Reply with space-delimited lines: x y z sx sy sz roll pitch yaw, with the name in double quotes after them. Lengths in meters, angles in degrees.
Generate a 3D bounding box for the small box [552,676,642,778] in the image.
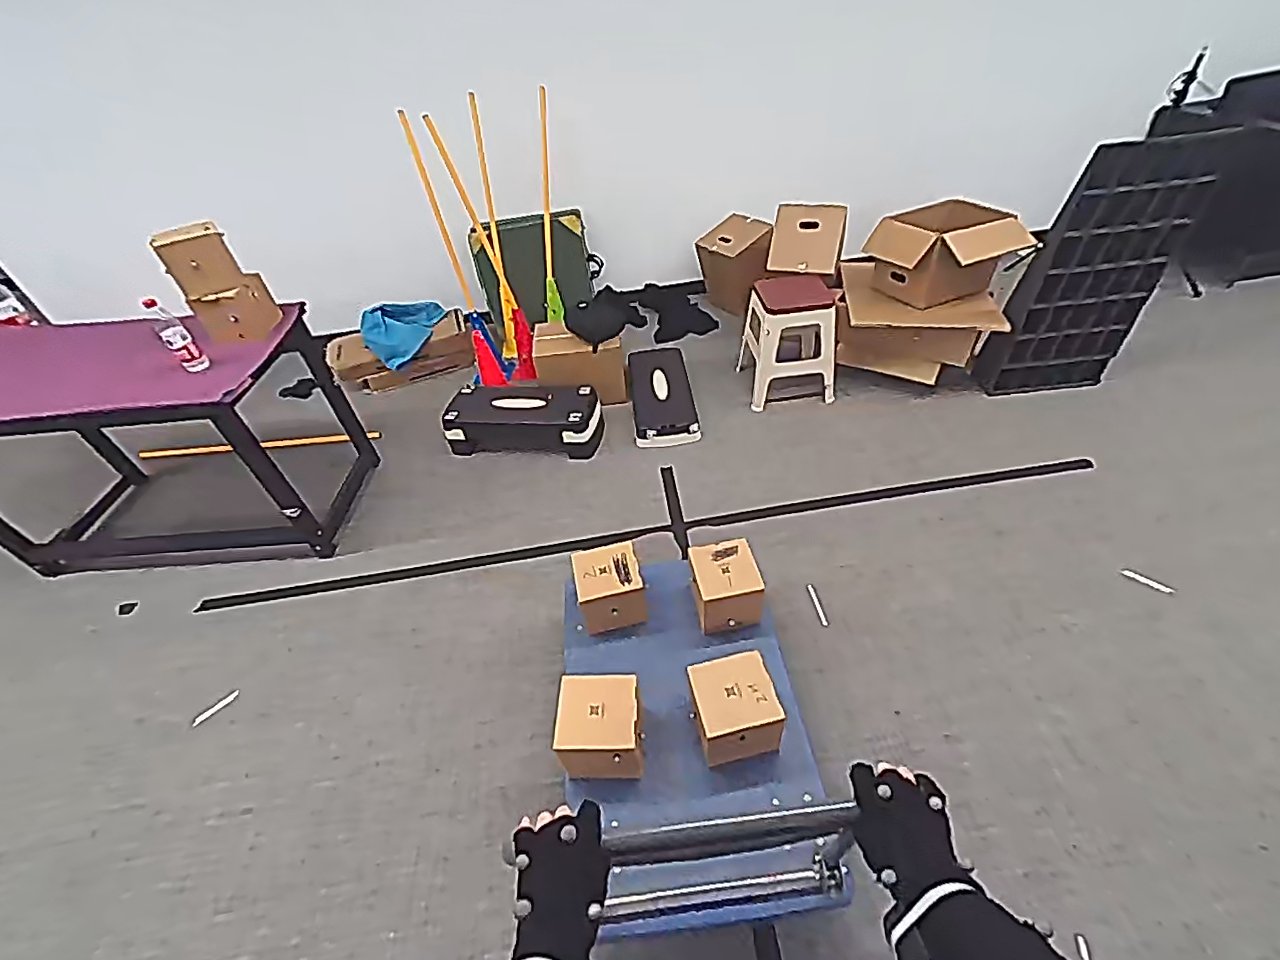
-0.090 0.565 1.232 0.179 0.176 0.168 -2 43 3 "small box"

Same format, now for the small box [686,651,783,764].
0.212 0.523 1.235 0.179 0.176 0.168 -12 44 -5 "small box"

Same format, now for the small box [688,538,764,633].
0.228 0.290 1.479 0.168 0.176 0.179 -11 45 -3 "small box"
